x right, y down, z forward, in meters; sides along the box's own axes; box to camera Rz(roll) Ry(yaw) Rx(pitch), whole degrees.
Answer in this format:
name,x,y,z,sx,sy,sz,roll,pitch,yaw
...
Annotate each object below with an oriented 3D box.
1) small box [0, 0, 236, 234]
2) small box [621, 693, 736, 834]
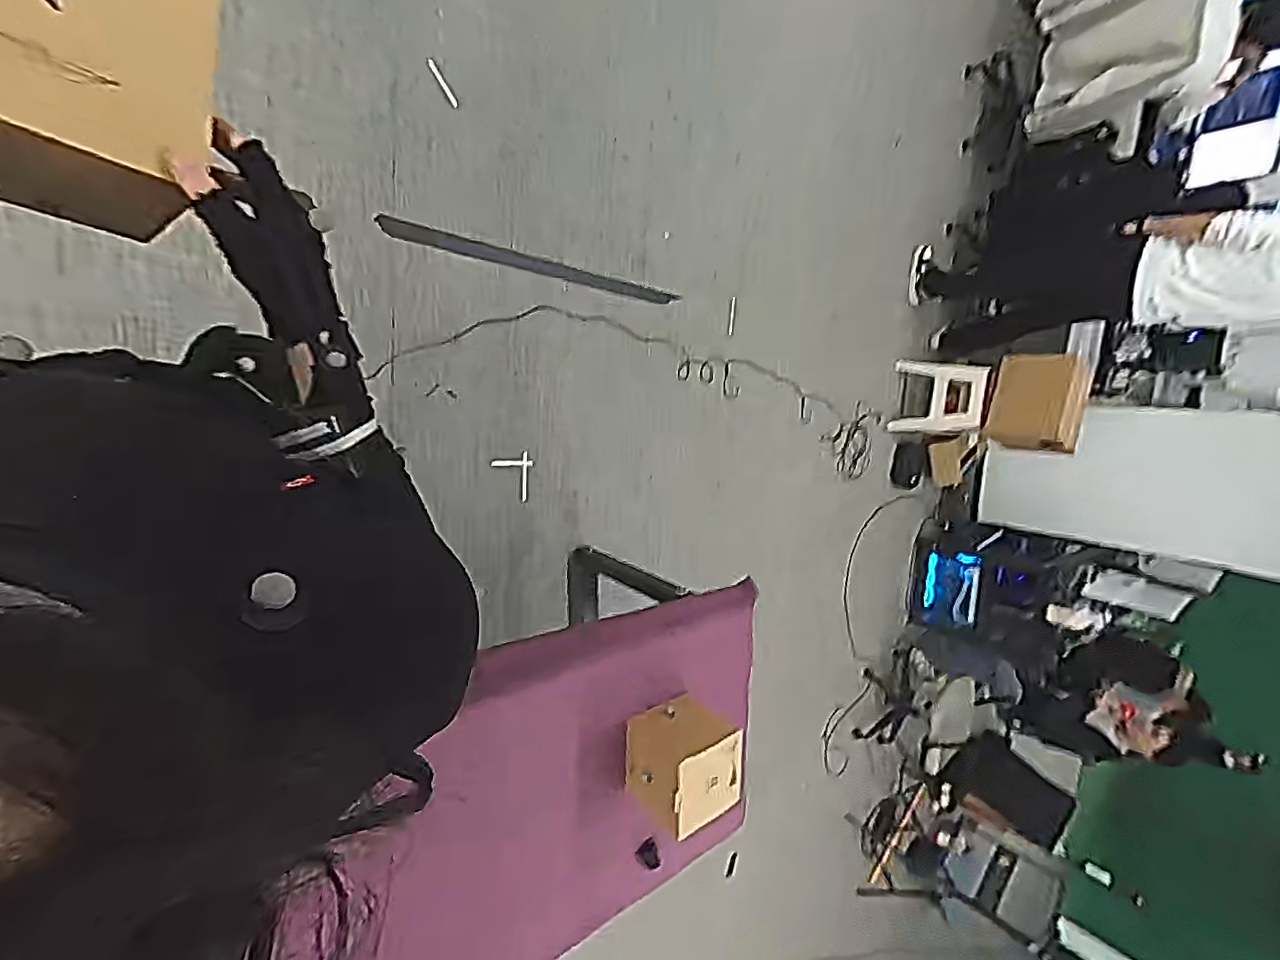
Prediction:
name,x,y,z,sx,sy,sz,roll,pitch,yaw
small box,-0.388,-0.288,0.344,0.168,0.176,0.179,6,90,-53
small box,0.075,0.573,1.121,0.179,0.176,0.168,-6,102,-37
